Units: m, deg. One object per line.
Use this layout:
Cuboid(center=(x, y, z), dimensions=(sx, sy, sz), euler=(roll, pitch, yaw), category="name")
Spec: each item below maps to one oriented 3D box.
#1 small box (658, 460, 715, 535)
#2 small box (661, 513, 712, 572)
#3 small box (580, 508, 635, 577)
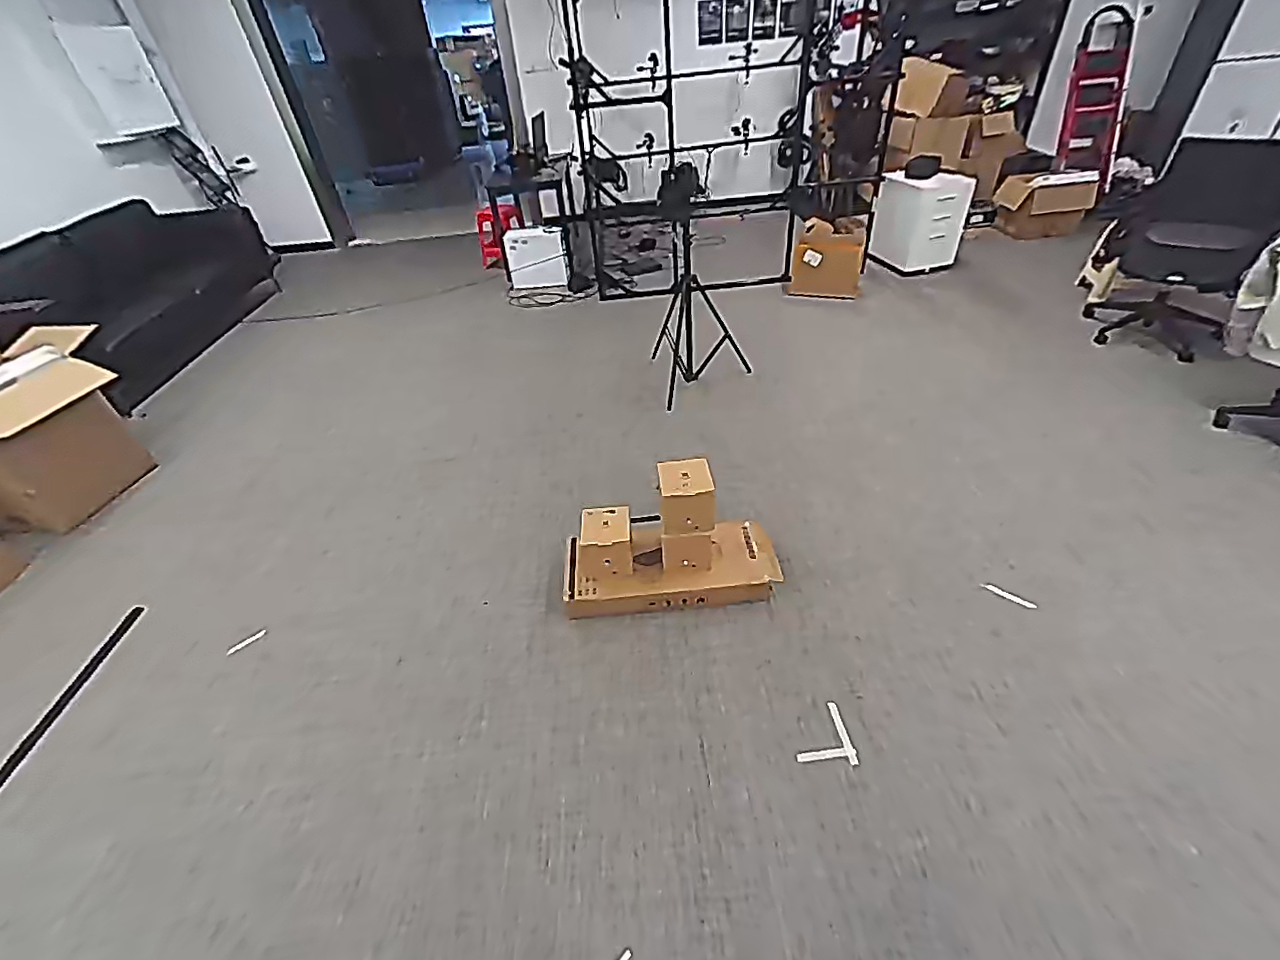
Cuboid(center=(0.150, 0.059, 1.777), dimensions=(0.168, 0.176, 0.179), euler=(-7, 38, 0), category="small box")
Cuboid(center=(0.159, 0.197, 1.868), dimensions=(0.168, 0.176, 0.179), euler=(-4, 39, 3), category="small box")
Cuboid(center=(-0.109, 0.222, 1.869), dimensions=(0.168, 0.176, 0.179), euler=(-5, 40, 1), category="small box")
